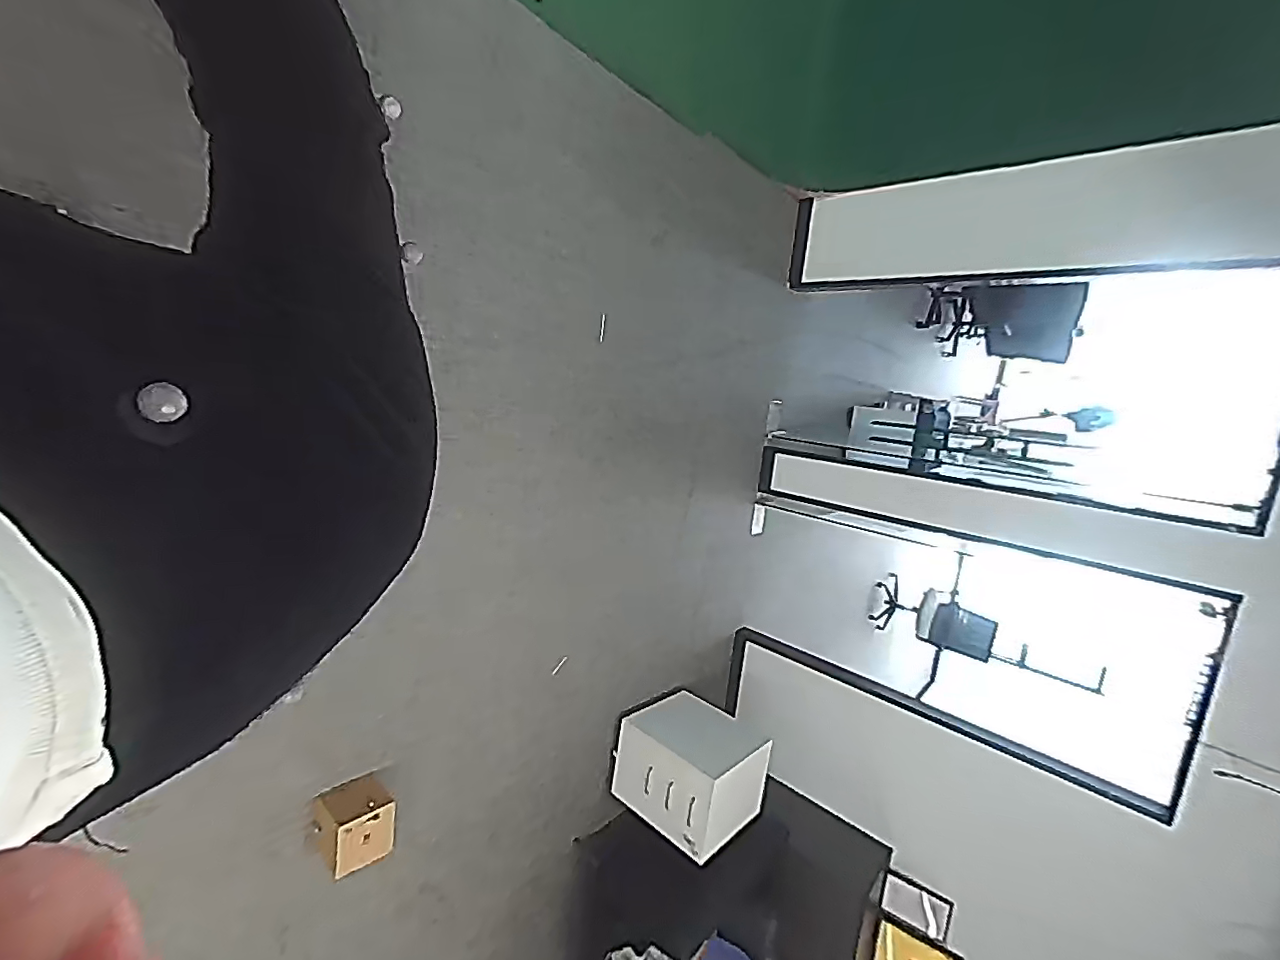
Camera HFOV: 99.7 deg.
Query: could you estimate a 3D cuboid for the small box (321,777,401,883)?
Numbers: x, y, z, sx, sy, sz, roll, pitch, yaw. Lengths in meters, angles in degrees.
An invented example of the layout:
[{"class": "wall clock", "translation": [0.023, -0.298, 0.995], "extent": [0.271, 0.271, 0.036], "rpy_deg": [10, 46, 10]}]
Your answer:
[{"class": "small box", "translation": [-0.852, 1.054, 1.644], "extent": [0.168, 0.176, 0.179], "rpy_deg": [-2, 102, -49]}]
